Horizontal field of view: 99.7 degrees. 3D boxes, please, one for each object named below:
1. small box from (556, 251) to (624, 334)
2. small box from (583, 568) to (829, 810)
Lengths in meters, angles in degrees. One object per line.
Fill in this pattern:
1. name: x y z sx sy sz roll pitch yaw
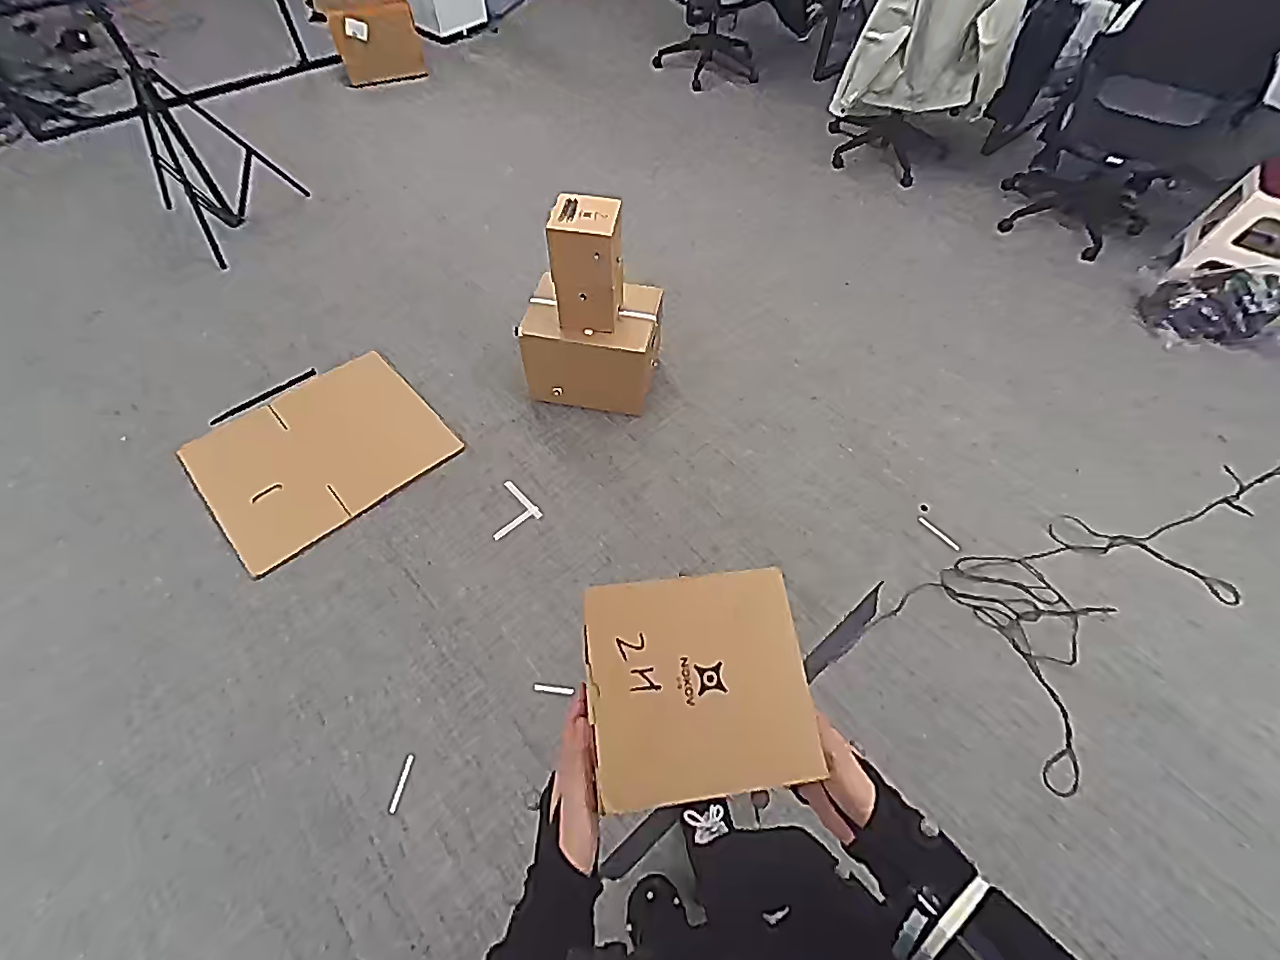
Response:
1. small box: -0.146 -0.564 1.638 0.179 0.176 0.168 8 58 3
2. small box: 0.041 0.187 0.498 0.179 0.176 0.168 -4 66 -8
